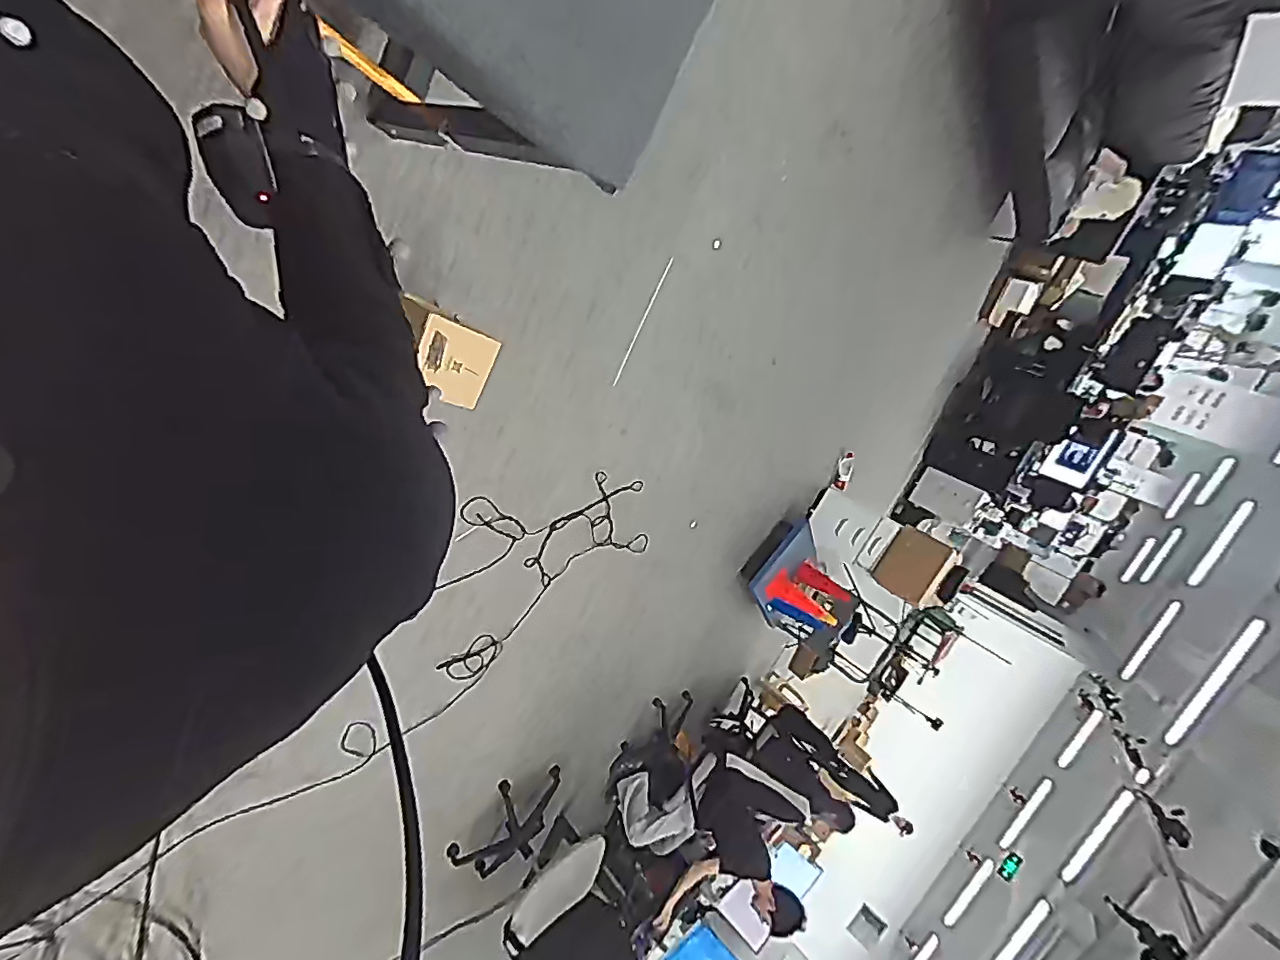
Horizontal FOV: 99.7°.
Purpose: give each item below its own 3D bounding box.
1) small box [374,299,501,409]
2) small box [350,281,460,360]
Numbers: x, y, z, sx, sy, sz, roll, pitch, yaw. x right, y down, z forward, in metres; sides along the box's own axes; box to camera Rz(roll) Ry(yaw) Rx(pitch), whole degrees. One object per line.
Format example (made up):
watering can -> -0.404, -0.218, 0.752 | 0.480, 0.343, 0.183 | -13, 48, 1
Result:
small box -> -0.445, -0.276, 1.175 | 0.179, 0.176, 0.168 | 13, 106, -53
small box -> -0.547, -0.350, 1.281 | 0.179, 0.176, 0.168 | 17, 102, -53
